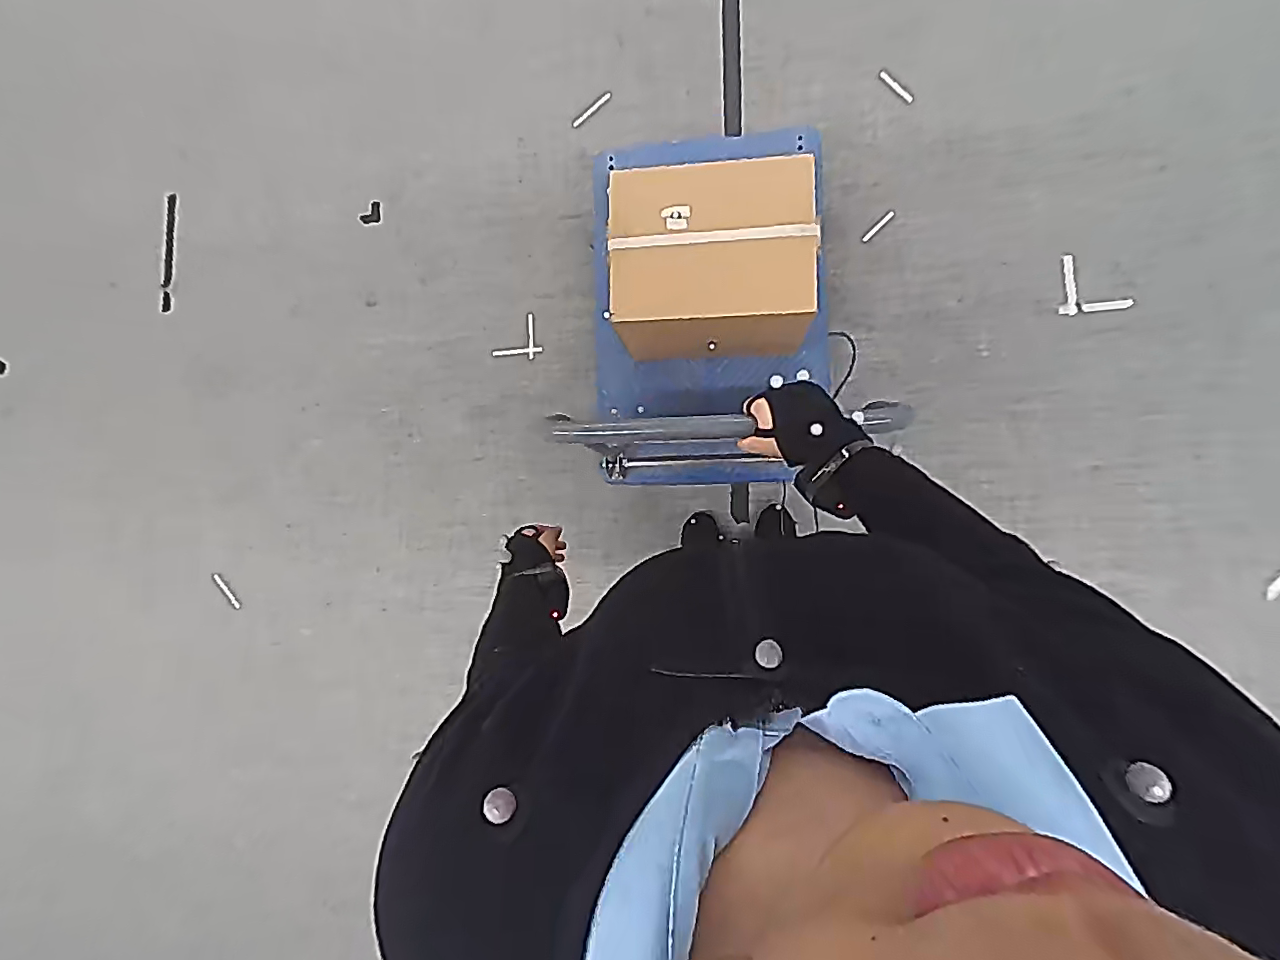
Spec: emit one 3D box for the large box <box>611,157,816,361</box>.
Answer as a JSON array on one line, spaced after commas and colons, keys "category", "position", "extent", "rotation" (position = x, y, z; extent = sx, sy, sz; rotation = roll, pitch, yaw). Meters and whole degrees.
[{"category": "large box", "position": [0.165, -0.468, 1.227], "extent": [0.408, 0.320, 0.320], "rotation": [-1, 86, 9]}]
